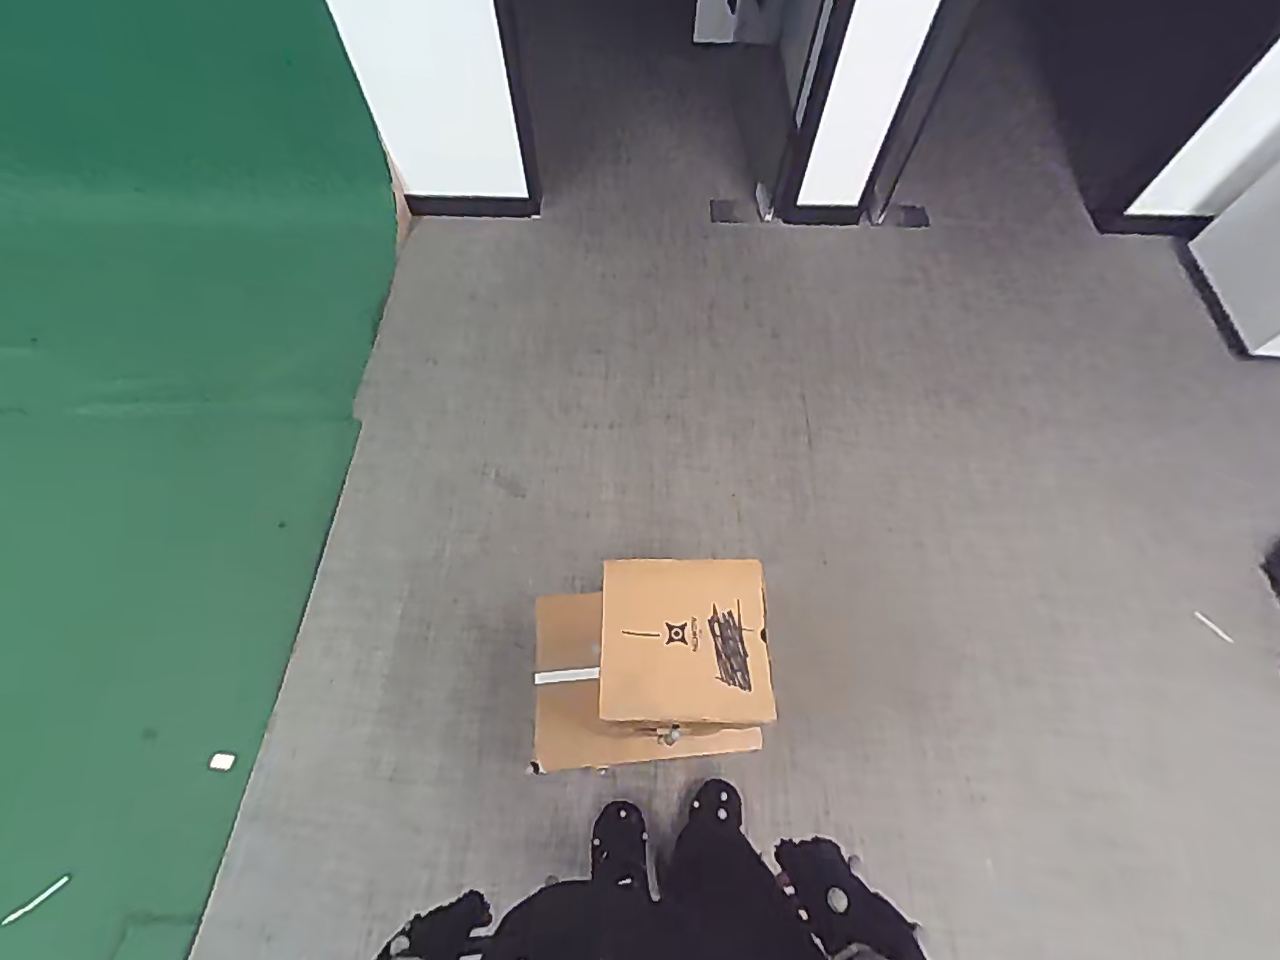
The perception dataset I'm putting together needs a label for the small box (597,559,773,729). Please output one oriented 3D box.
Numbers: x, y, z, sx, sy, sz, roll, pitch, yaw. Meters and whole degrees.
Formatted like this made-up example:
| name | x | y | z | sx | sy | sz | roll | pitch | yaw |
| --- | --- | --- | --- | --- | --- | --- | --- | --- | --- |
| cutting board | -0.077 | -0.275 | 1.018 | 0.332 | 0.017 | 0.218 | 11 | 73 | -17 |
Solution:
| name | x | y | z | sx | sy | sz | roll | pitch | yaw |
| --- | --- | --- | --- | --- | --- | --- | --- | --- | --- |
| small box | 0.045 | 0.197 | 0.633 | 0.179 | 0.176 | 0.168 | 0 | 63 | 1 |
